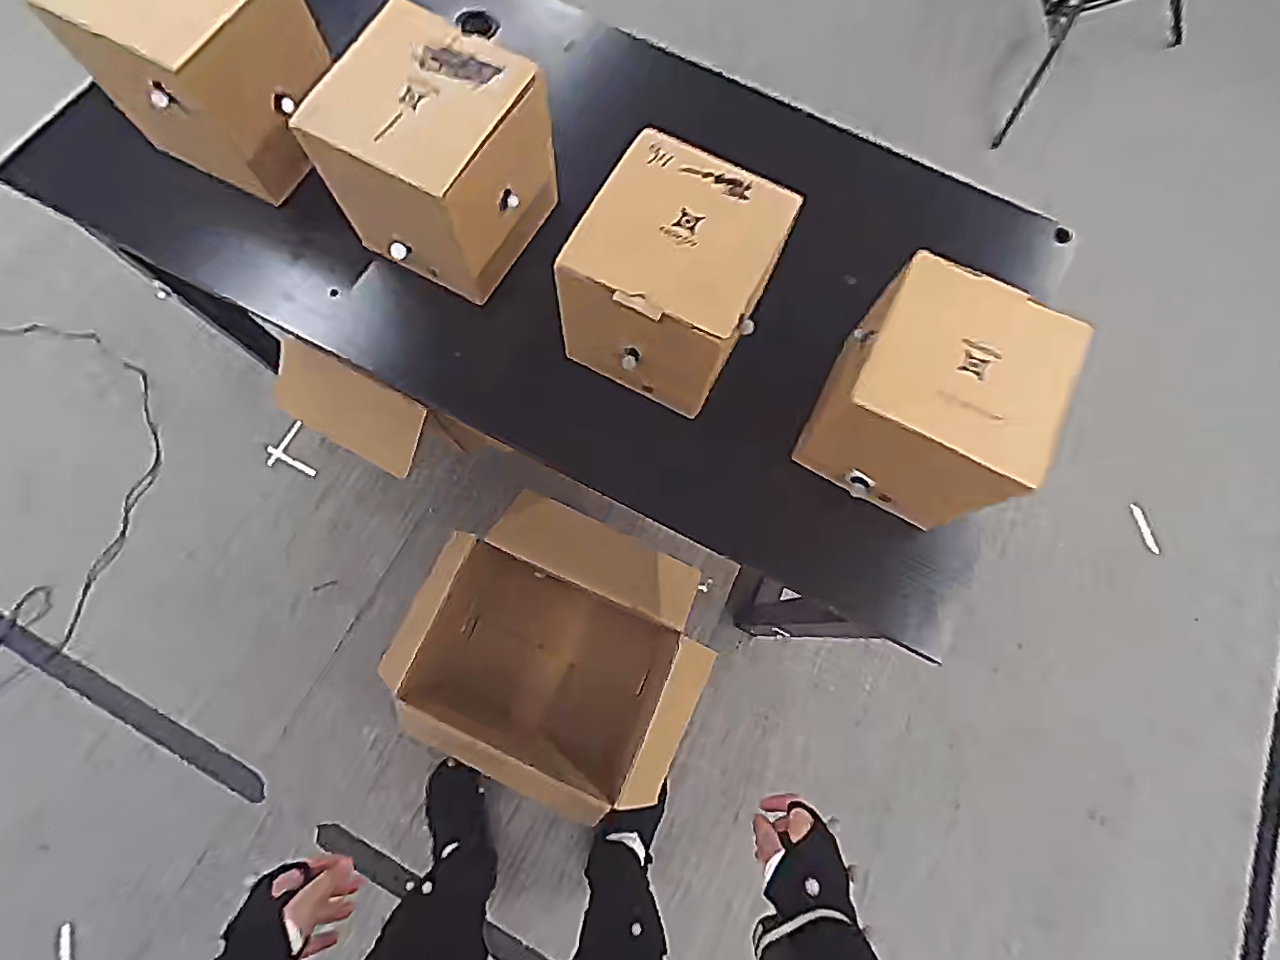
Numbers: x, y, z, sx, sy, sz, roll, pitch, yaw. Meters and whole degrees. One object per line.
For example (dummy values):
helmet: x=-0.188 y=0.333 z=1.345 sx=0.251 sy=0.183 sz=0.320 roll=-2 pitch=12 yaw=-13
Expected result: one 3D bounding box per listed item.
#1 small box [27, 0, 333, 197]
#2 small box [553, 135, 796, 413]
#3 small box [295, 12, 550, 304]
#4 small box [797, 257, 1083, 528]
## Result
small box: x=-0.465 y=-0.453 z=0.597 sx=0.179 sy=0.176 sz=0.168 roll=27 pitch=74 yaw=3
small box: x=0.031 y=-0.196 z=0.560 sx=0.168 sy=0.176 sz=0.179 roll=27 pitch=75 yaw=4
small box: x=-0.209 y=-0.331 z=0.581 sx=0.168 sy=0.176 sz=0.179 roll=28 pitch=75 yaw=4
small box: x=0.280 y=-0.074 z=0.541 sx=0.168 sy=0.176 sz=0.179 roll=27 pitch=75 yaw=6
